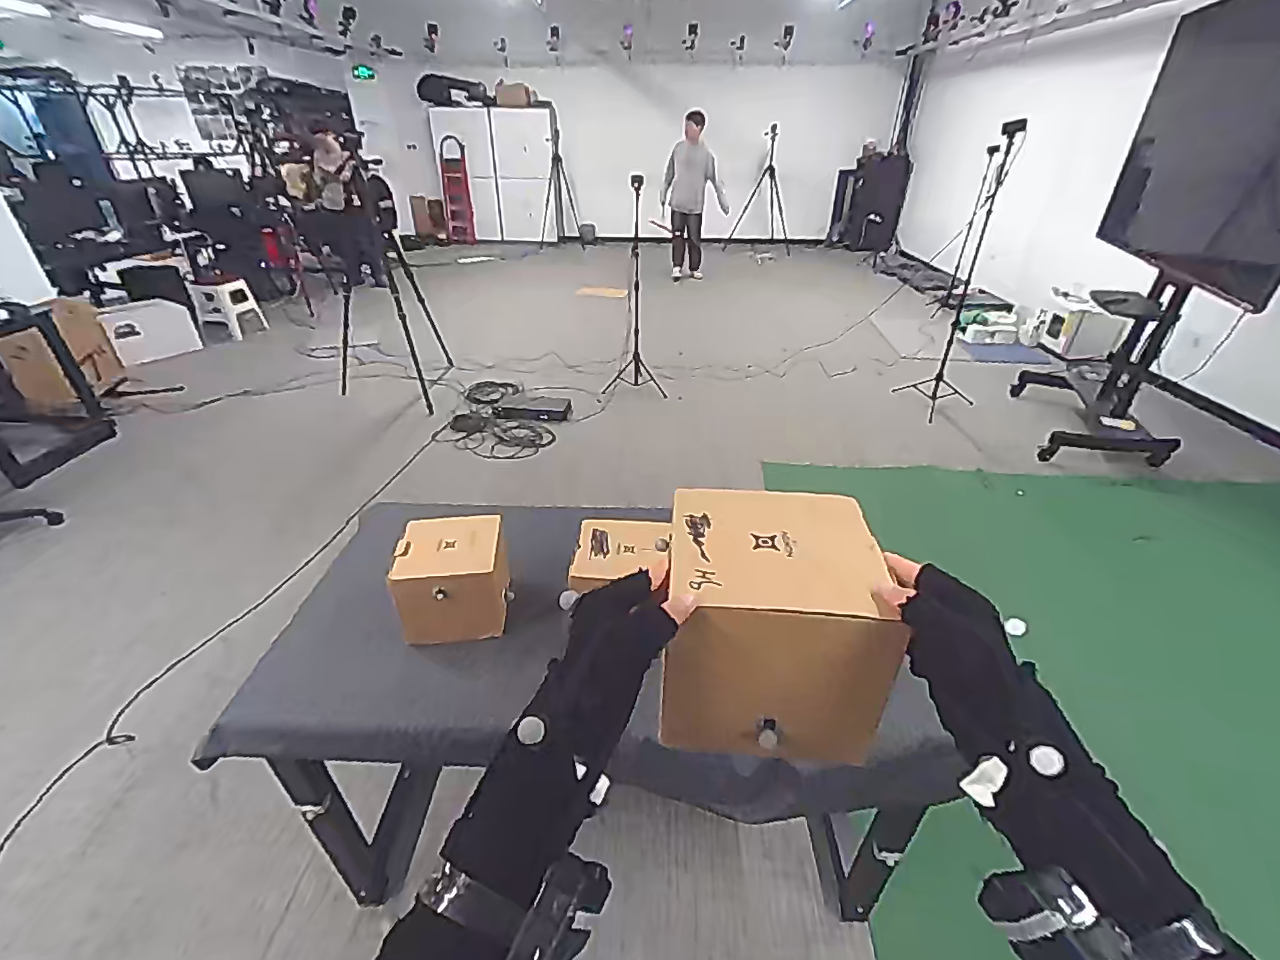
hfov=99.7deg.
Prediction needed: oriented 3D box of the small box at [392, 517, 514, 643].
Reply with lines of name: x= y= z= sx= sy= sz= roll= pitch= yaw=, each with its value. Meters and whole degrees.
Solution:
small box: x=-0.340 y=0.190 z=1.021 sx=0.179 sy=0.176 sz=0.168 roll=-3 pitch=34 yaw=-7

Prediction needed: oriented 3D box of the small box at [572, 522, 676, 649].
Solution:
small box: x=-0.024 y=0.197 z=1.011 sx=0.179 sy=0.176 sz=0.168 roll=3 pitch=32 yaw=3

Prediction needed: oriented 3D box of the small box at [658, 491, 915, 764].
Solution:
small box: x=0.113 y=0.129 z=0.492 sx=0.179 sy=0.176 sz=0.168 roll=4 pitch=29 yaw=4
